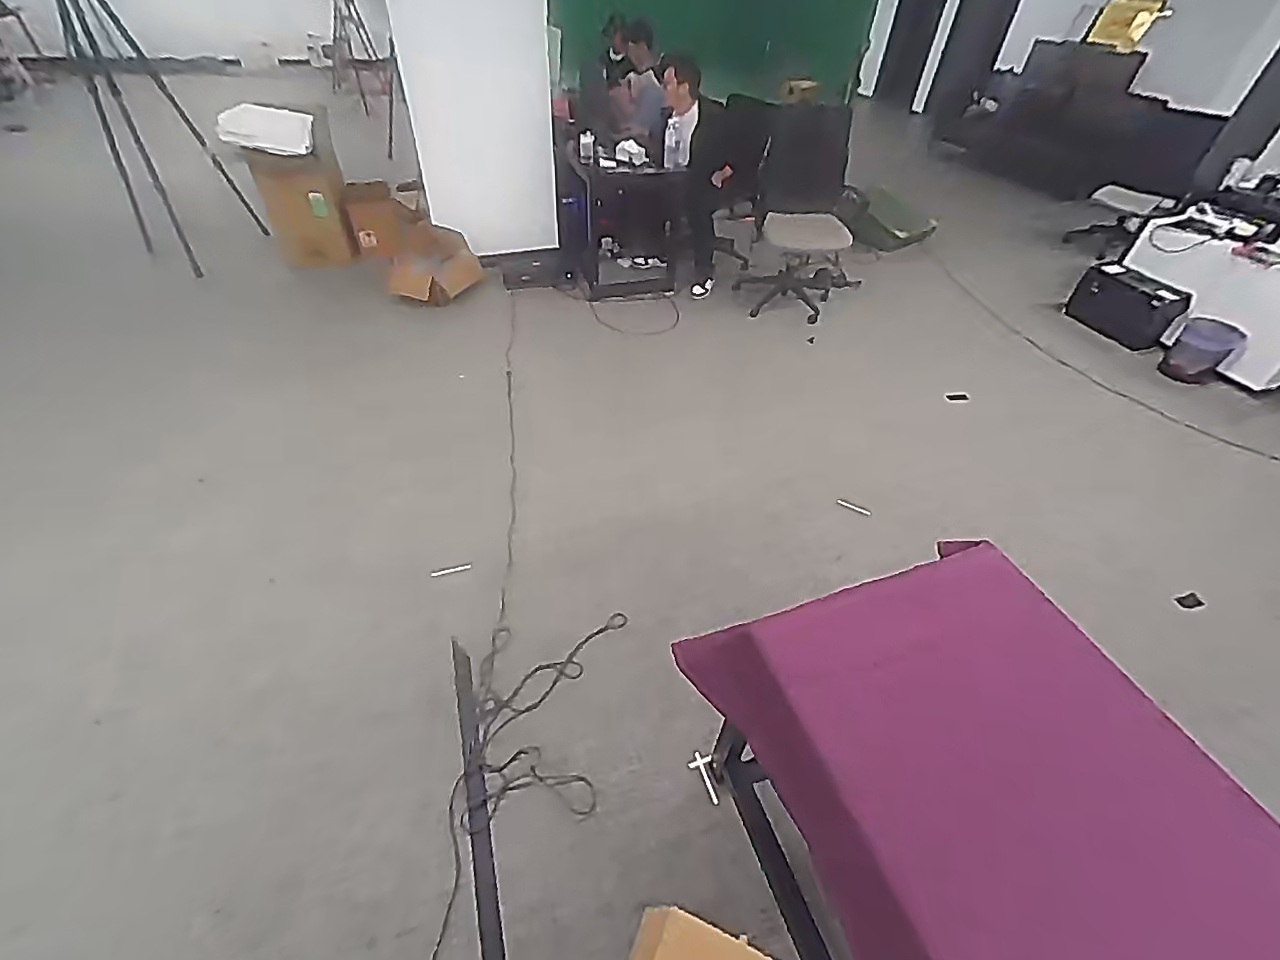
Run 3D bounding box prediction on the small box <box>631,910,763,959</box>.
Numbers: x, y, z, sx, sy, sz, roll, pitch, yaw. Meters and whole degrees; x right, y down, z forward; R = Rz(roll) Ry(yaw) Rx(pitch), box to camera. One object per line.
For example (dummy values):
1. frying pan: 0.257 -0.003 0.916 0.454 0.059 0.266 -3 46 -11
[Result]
1. small box: 0.070 0.626 0.616 0.179 0.176 0.168 24 50 9
